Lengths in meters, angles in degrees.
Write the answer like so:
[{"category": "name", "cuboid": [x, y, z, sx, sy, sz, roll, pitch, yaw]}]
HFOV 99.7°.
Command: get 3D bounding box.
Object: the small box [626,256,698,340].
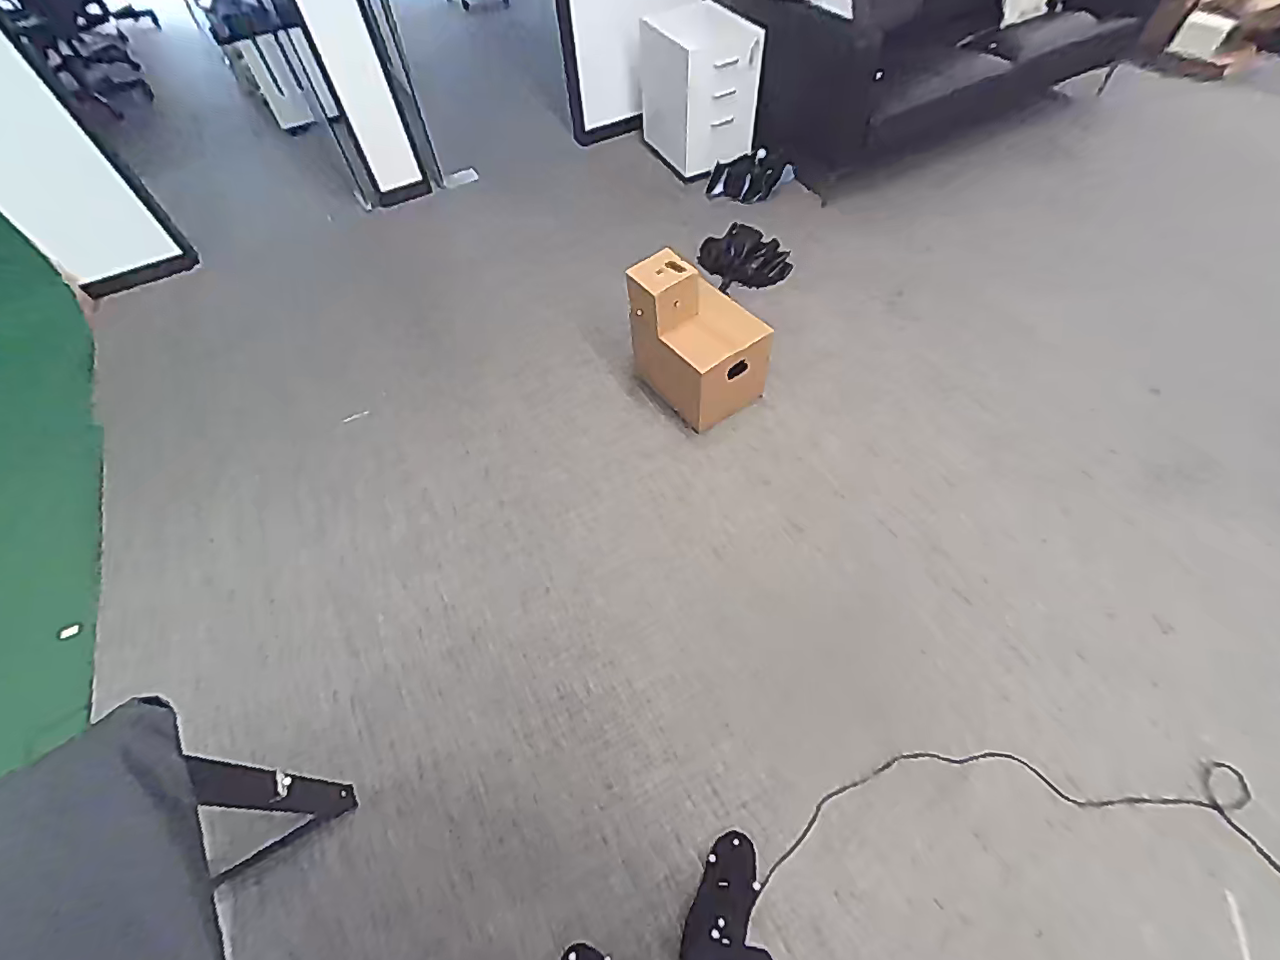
[{"category": "small box", "cuboid": [0.076, -0.601, 1.796, 0.179, 0.176, 0.168, -33, 60, -13]}]
